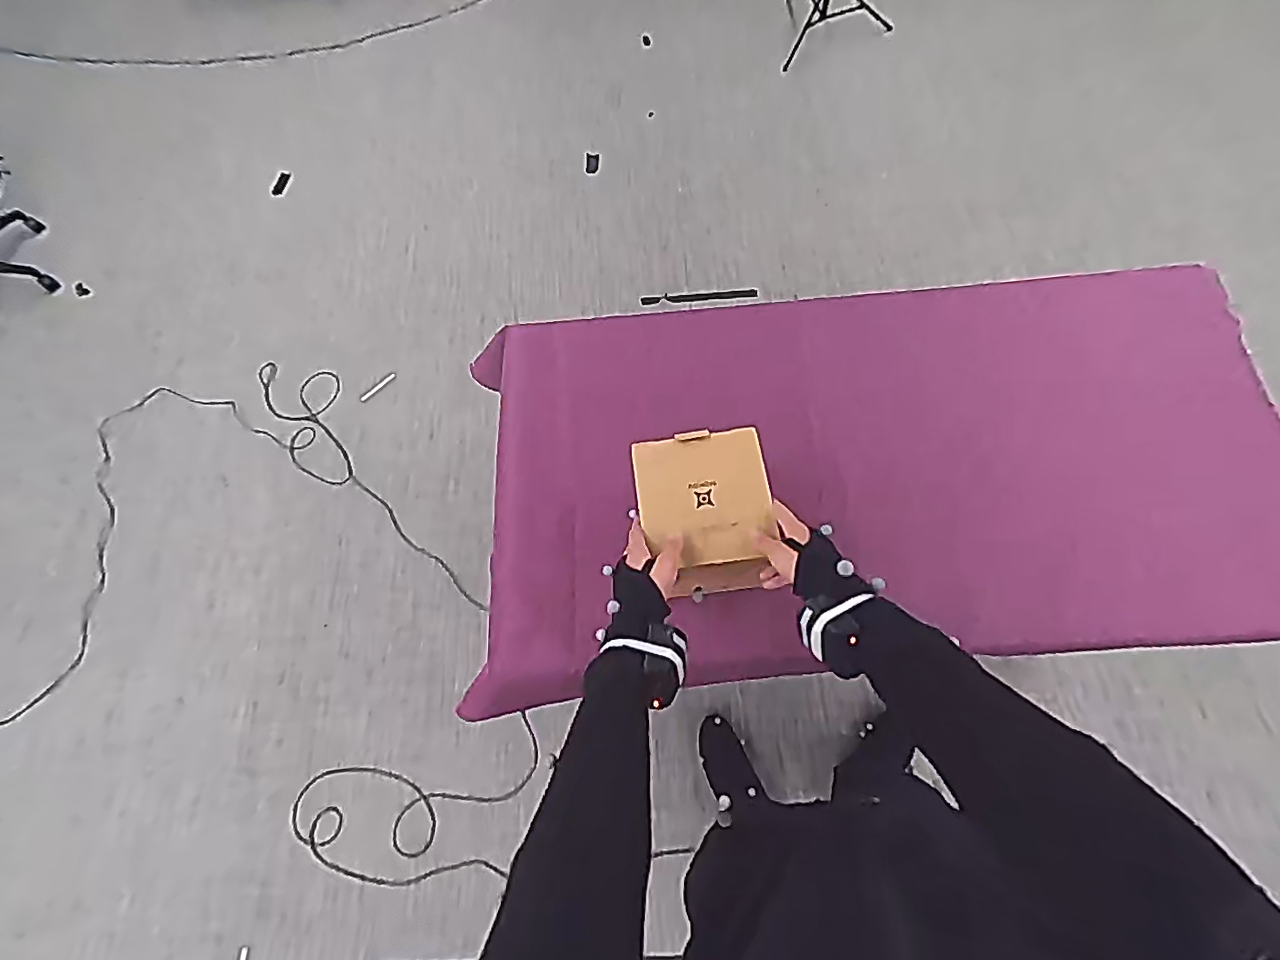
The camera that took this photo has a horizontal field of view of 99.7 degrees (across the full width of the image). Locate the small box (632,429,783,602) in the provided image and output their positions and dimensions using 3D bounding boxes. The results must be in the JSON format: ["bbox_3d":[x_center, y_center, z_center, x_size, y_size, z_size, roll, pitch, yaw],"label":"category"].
[{"bbox_3d":[0.082,0.054,0.734,0.168,0.176,0.179,-8,65,1],"label":"small box"}]
